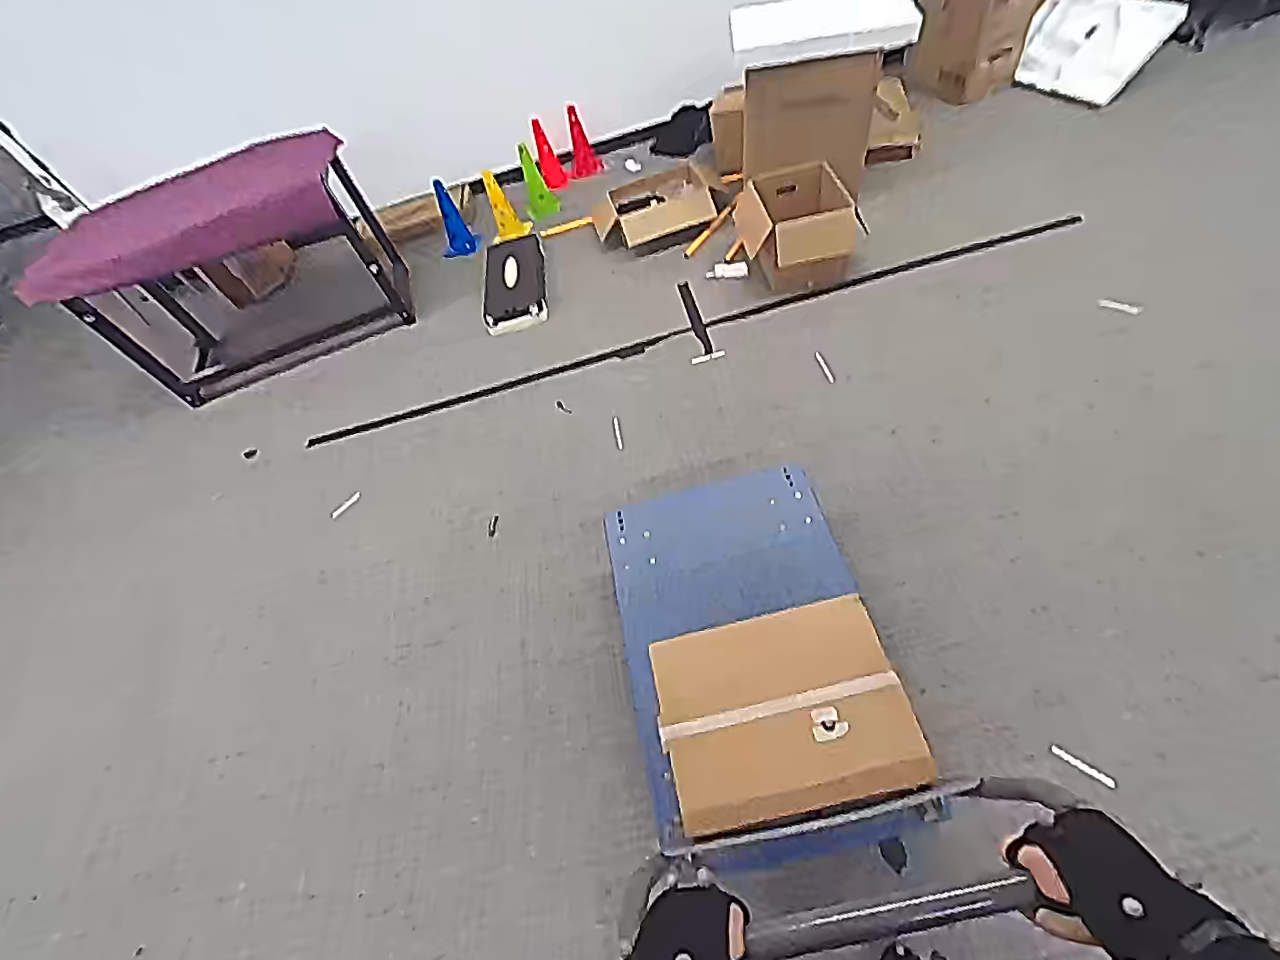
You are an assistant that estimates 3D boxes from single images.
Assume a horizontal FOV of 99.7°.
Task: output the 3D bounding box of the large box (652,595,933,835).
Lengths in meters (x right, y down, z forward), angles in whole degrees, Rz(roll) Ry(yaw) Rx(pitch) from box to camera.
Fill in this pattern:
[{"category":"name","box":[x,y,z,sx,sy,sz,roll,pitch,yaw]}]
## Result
[{"category":"large box","box":[0.266,0.470,1.060,0.408,0.320,0.320,-14,57,2]}]
